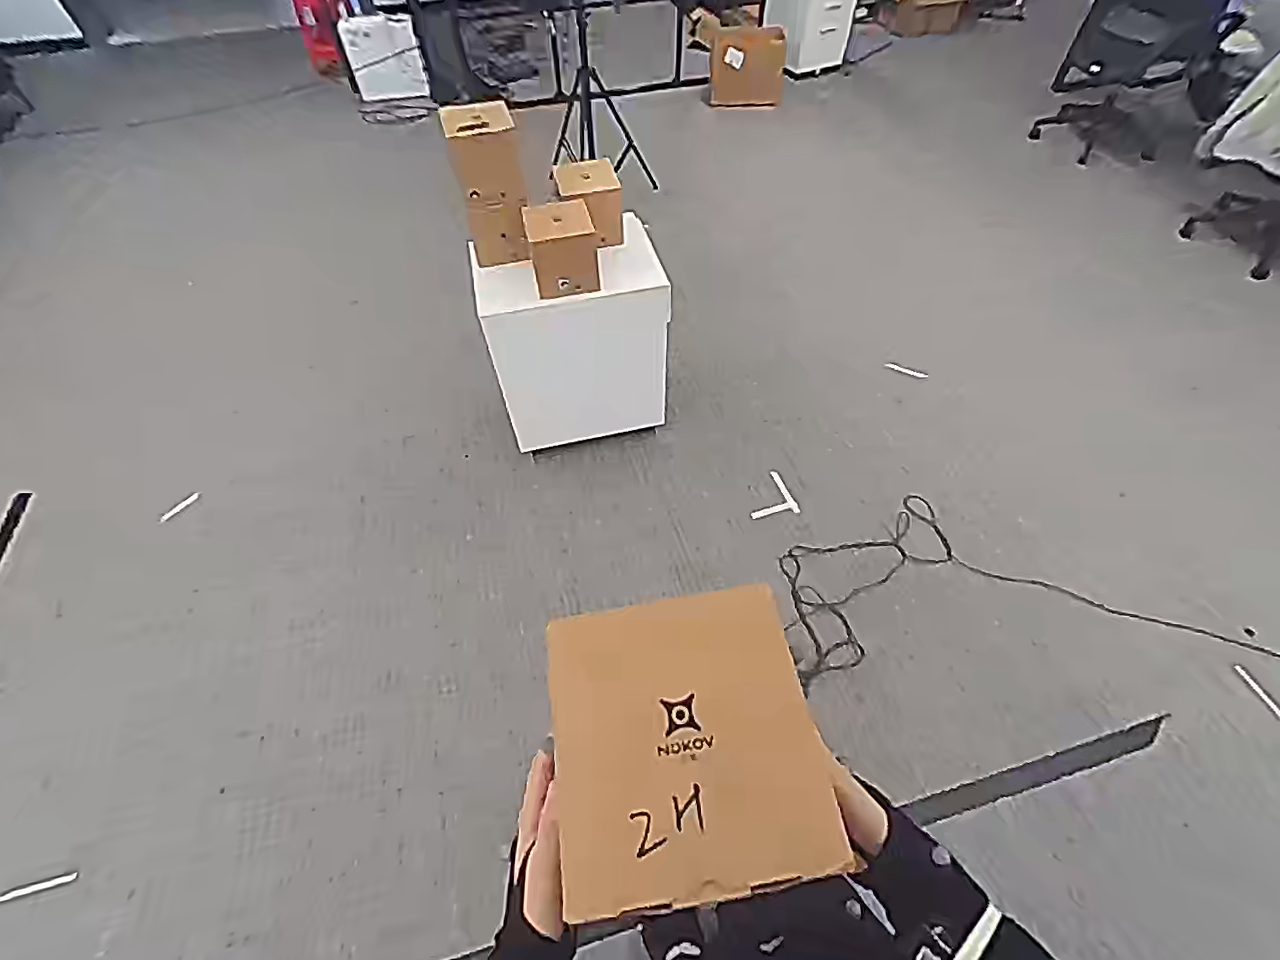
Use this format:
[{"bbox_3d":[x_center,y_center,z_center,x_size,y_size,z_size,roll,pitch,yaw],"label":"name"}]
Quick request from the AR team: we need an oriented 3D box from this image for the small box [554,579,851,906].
[{"bbox_3d":[0.034,0.199,0.416,0.168,0.176,0.179,-10,57,-1],"label":"small box"}]

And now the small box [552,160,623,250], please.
[{"bbox_3d":[-0.147,-0.778,1.544,0.168,0.176,0.179,-12,55,-6],"label":"small box"}]

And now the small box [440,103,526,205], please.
[{"bbox_3d":[-0.396,-0.821,1.376,0.168,0.176,0.179,-15,55,-10],"label":"small box"}]
